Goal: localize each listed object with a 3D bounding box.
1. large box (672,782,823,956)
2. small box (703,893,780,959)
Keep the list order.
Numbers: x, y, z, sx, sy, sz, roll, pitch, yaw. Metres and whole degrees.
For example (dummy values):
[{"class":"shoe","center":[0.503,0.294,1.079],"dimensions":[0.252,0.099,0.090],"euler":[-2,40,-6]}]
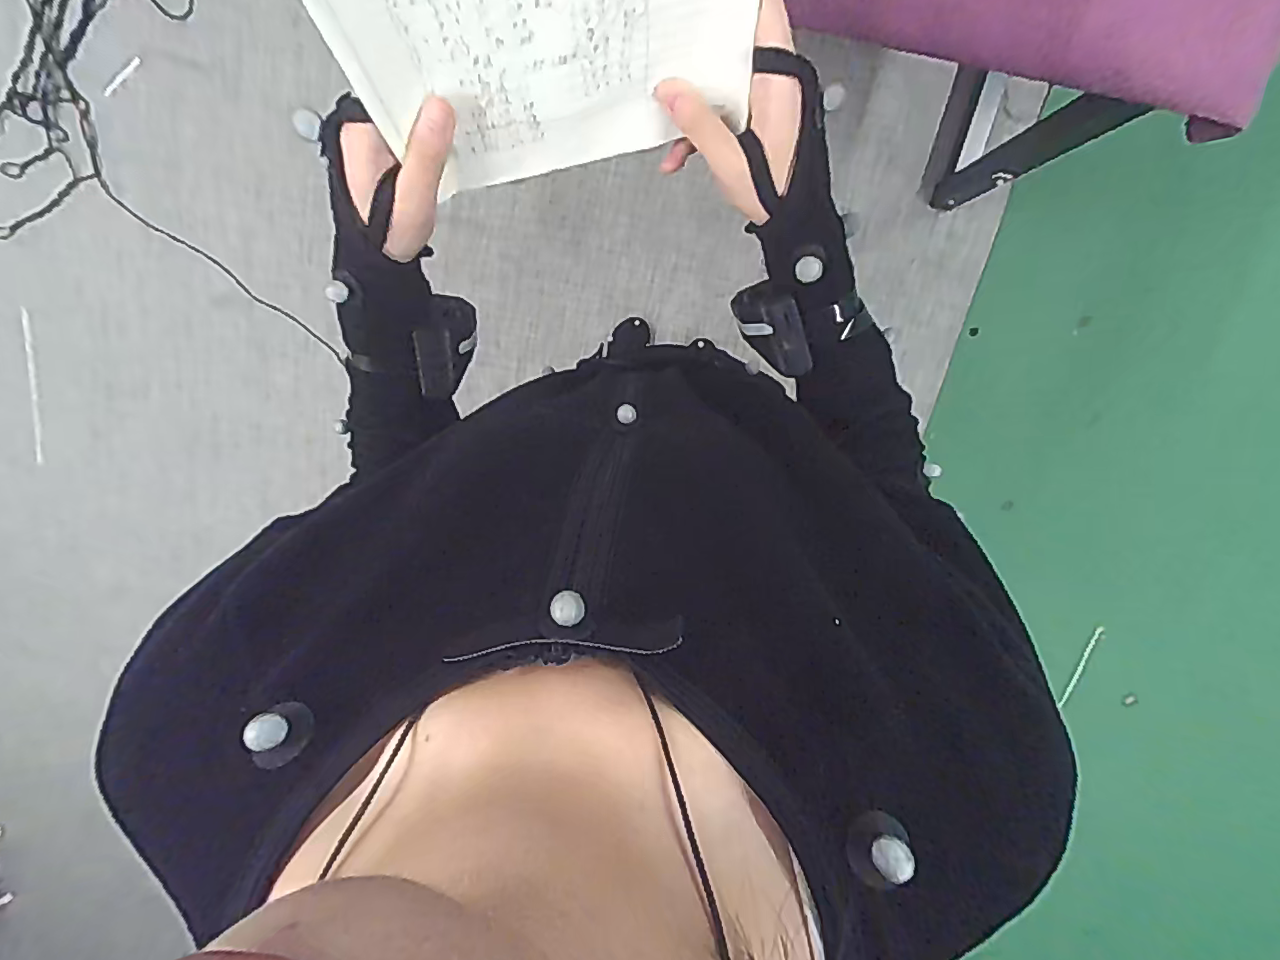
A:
[{"class":"large box","center":[0.305,1.160,1.639],"dimensions":[0.408,0.320,0.320],"euler":[-1,105,3]},{"class":"small box","center":[0.260,1.221,1.405],"dimensions":[0.179,0.176,0.168],"euler":[3,103,4]}]
